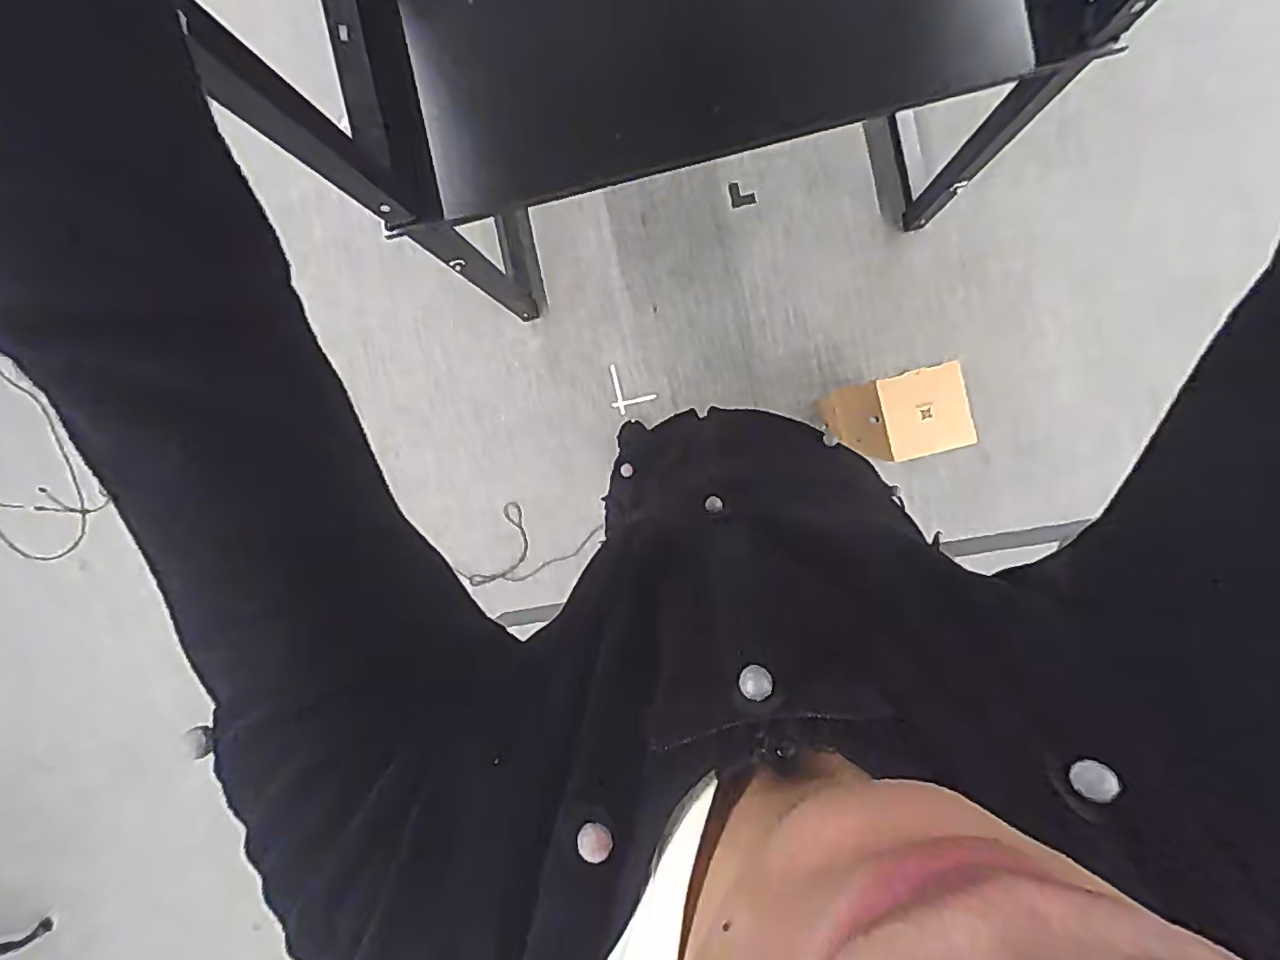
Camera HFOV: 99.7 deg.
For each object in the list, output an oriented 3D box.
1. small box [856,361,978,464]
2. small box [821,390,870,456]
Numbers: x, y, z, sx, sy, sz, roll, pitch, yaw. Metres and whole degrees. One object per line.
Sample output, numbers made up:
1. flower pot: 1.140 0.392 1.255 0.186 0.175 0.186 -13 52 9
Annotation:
1. small box: 0.587 -0.141 1.165 0.168 0.176 0.179 -15 92 7
2. small box: 0.618 -0.166 1.490 0.179 0.176 0.168 -13 92 7
